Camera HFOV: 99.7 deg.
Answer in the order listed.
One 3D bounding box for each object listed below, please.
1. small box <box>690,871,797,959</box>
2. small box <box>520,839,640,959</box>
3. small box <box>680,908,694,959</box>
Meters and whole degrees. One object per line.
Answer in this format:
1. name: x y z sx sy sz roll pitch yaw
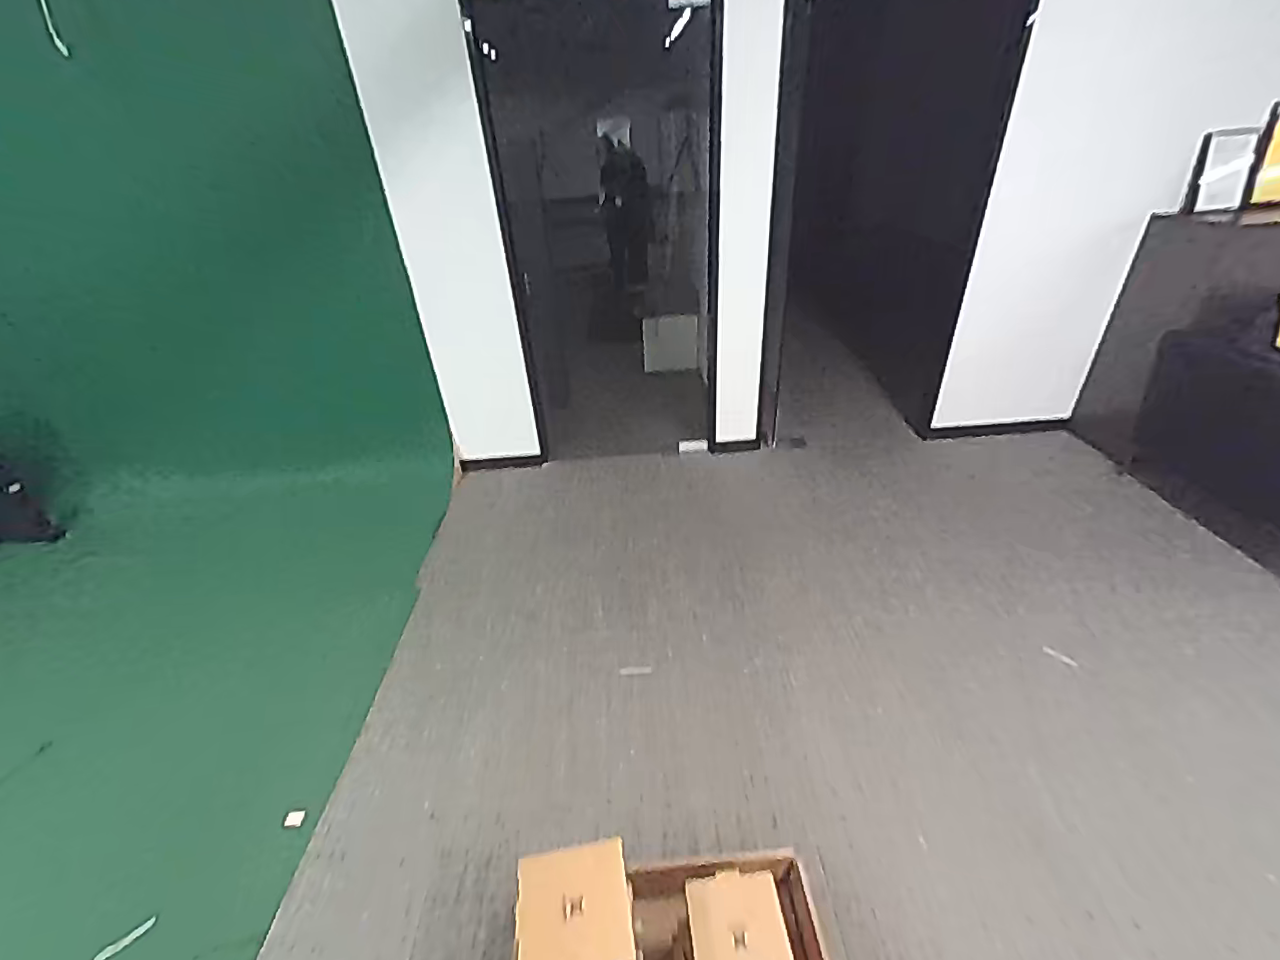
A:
1. small box: 0.181 0.846 0.971 0.168 0.176 0.179 -6 33 -1
2. small box: -0.095 0.728 0.885 0.179 0.176 0.168 -8 35 -6
3. small box: 0.183 0.971 1.080 0.179 0.176 0.168 -8 34 -5
